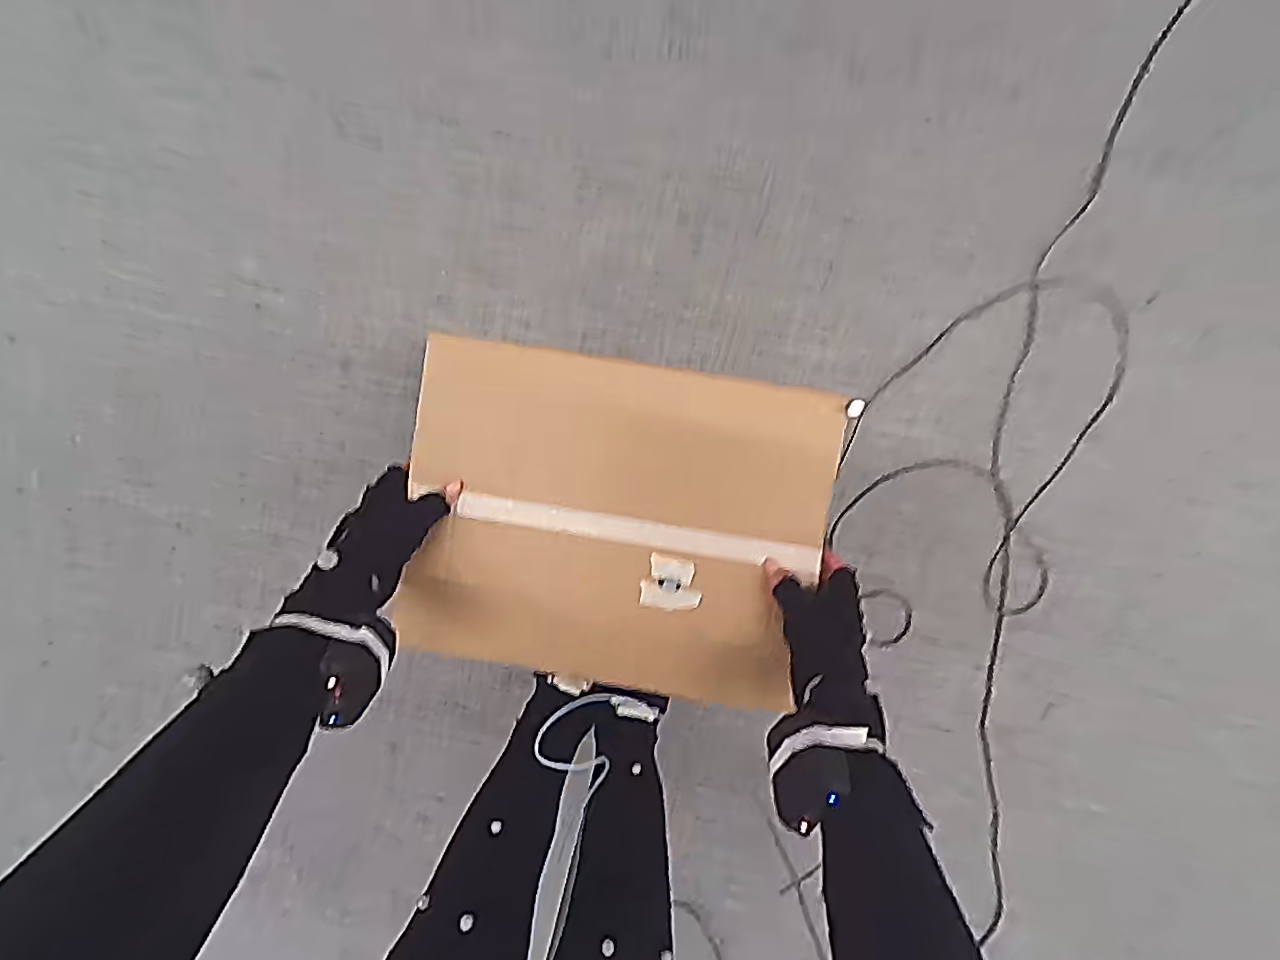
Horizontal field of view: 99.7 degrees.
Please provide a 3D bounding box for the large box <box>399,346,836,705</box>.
[{"bbox_3d":[-0.024,0.039,0.680,0.408,0.320,0.320,9,94,2],"label":"large box"}]
